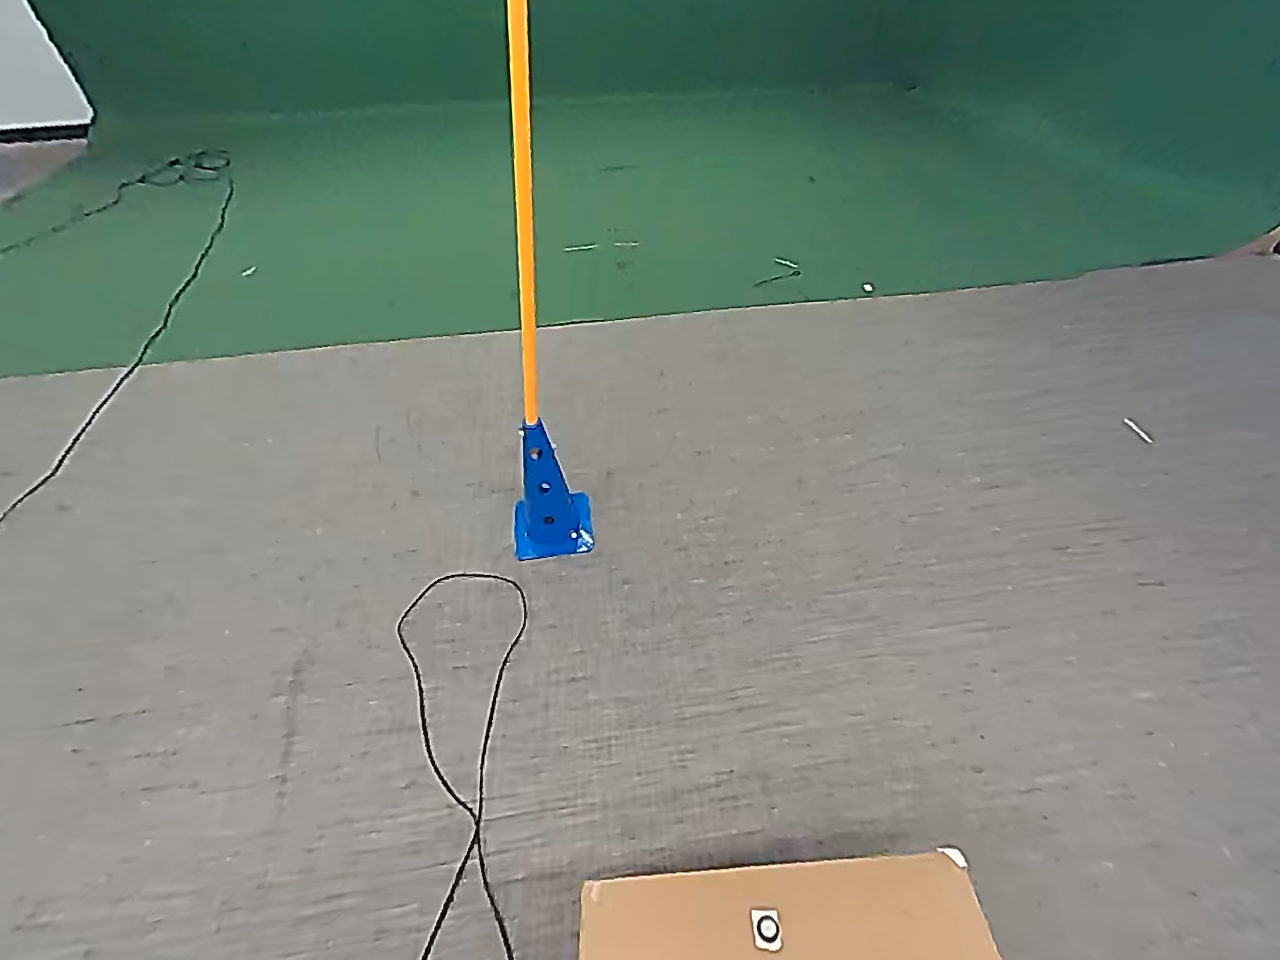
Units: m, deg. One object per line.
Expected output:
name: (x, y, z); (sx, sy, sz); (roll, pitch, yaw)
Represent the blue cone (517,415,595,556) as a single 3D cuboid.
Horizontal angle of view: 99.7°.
blue cone: (-0.219, -0.004, 1.274); (0.193, 0.380, 0.192); (-8, 47, -8)
